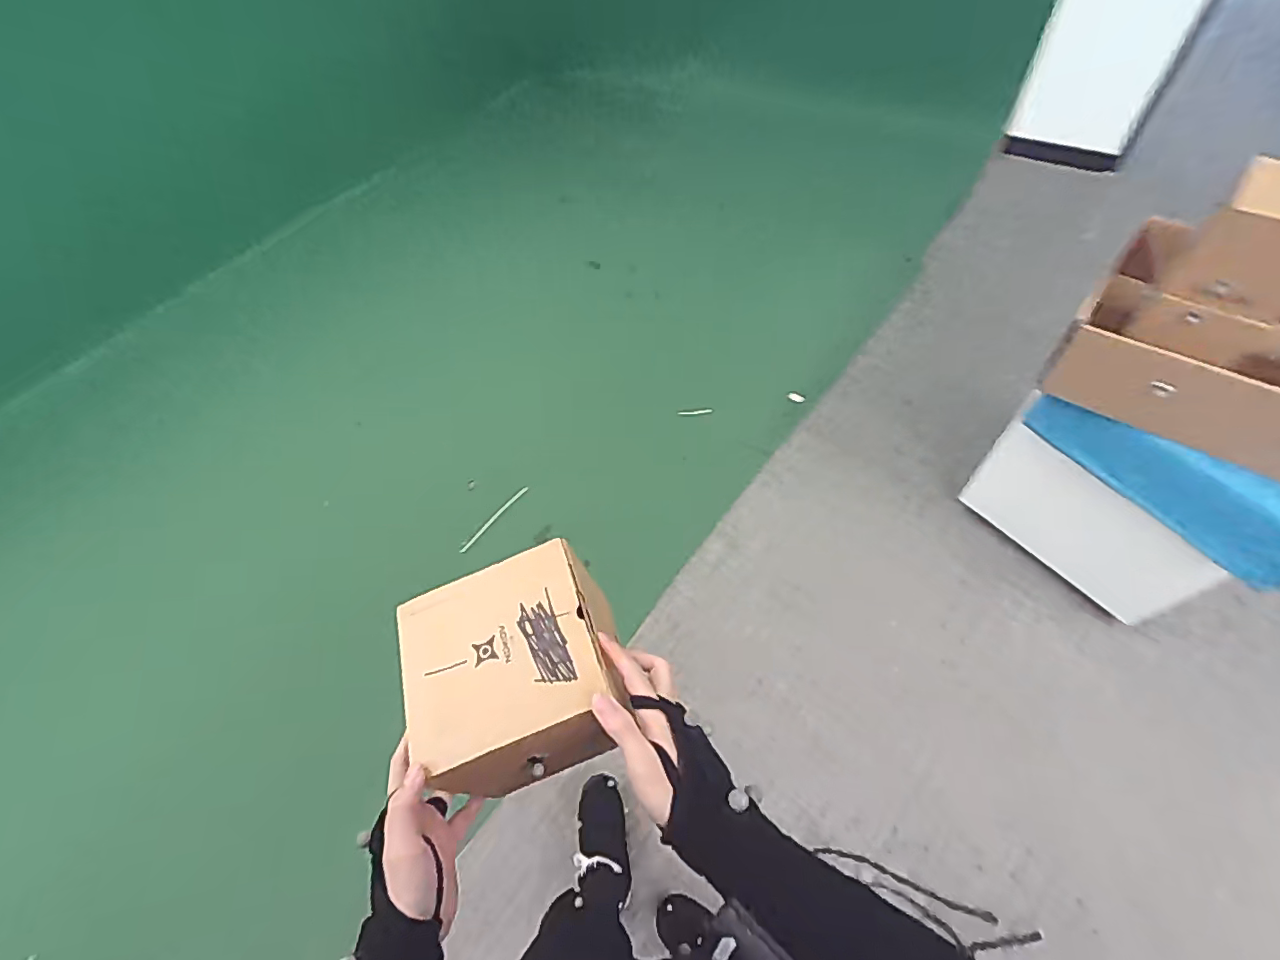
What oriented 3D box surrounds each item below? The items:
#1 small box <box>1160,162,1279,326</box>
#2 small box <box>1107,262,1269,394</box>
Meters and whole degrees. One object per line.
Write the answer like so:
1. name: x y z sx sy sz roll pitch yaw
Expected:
1. small box: 1.048 -0.397 0.918 0.168 0.176 0.179 32 66 25
2. small box: 1.064 -0.302 1.049 0.168 0.176 0.179 32 65 26
